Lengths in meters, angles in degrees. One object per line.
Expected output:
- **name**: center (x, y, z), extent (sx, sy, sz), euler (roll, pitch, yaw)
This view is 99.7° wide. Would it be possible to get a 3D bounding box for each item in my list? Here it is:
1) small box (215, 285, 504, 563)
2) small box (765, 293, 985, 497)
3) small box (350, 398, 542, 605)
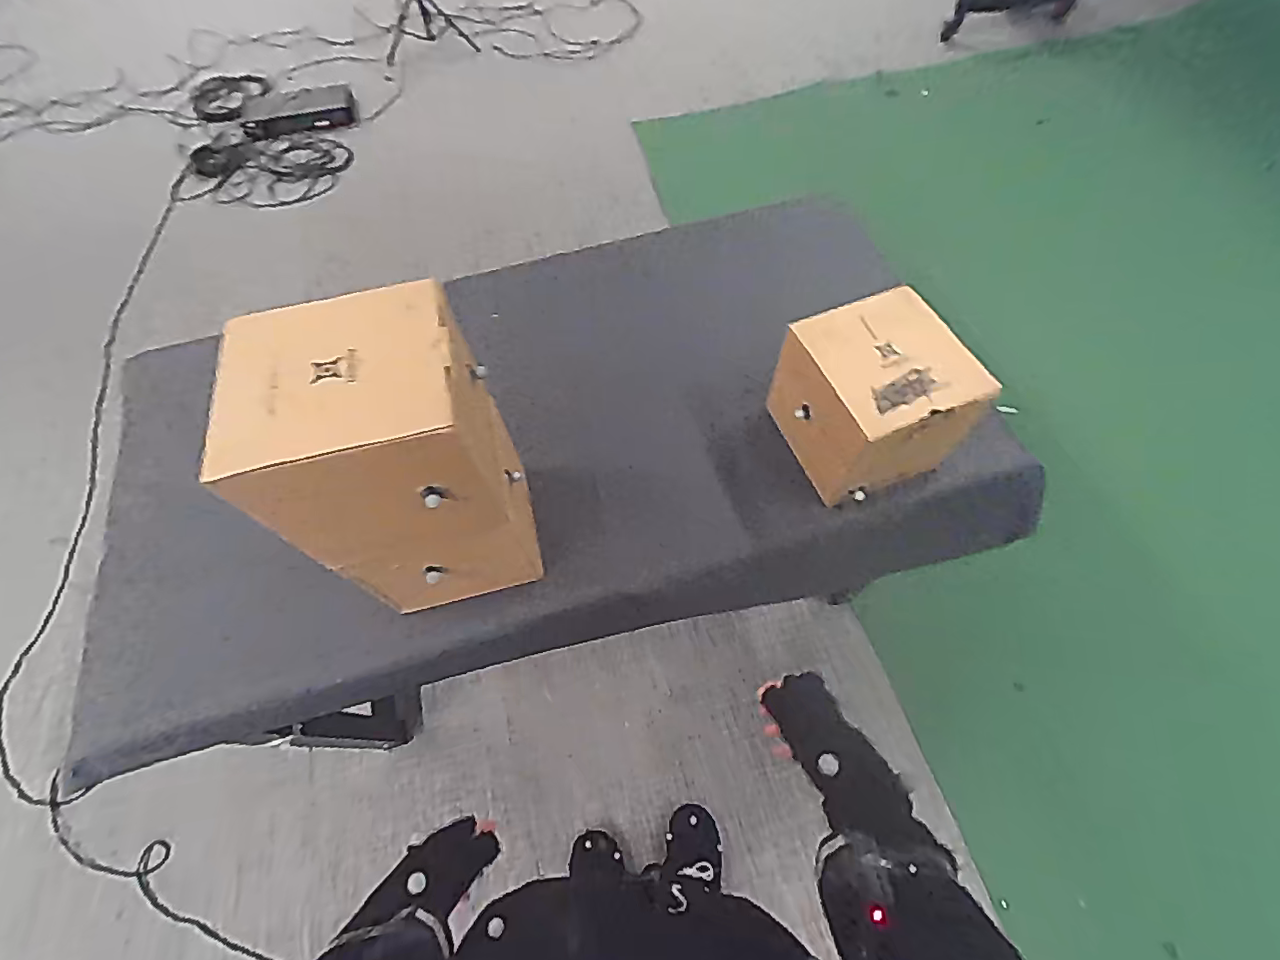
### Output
- **small box**: center (-0.234, -0.043, 0.498), extent (0.179, 0.176, 0.168), euler (-15, 60, -5)
- **small box**: center (0.279, -0.097, 0.689), extent (0.168, 0.176, 0.179), euler (-19, 62, -8)
- **small box**: center (-0.228, 0.033, 0.641), extent (0.179, 0.176, 0.168), euler (-14, 61, -5)
